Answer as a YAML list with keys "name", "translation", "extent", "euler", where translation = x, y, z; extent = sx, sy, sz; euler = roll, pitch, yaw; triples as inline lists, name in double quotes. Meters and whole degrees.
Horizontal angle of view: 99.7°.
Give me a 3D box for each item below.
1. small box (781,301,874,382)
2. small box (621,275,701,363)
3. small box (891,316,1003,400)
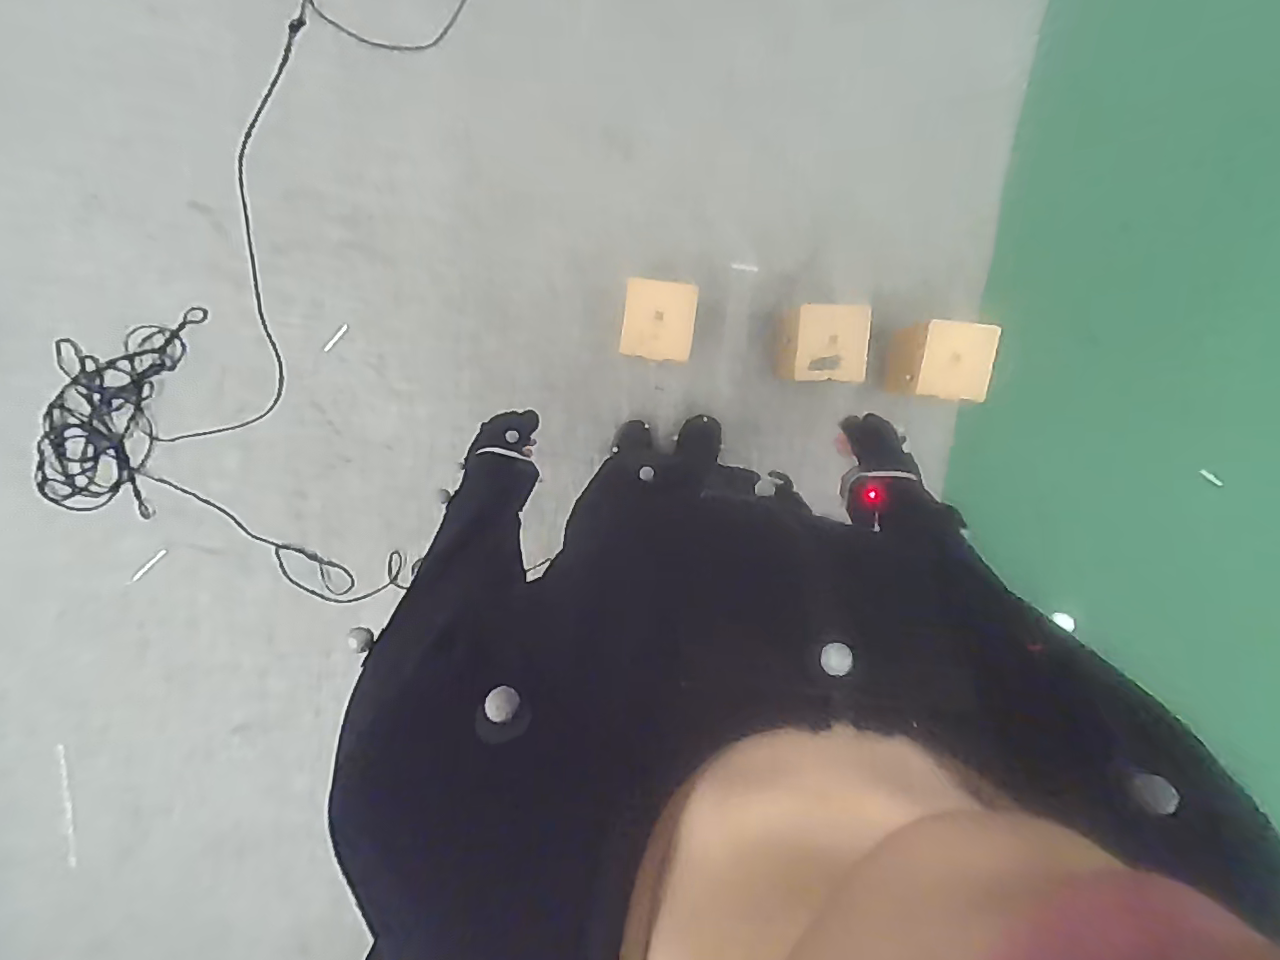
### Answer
- name: "small box"
  translation: [0.448, -0.331, 1.321]
  extent: [0.168, 0.176, 0.179]
  euler: [2, 99, 1]
- name: "small box"
  translation: [0.050, -0.386, 1.320]
  extent: [0.168, 0.176, 0.179]
  euler: [8, 100, 1]
- name: "small box"
  translation: [0.739, -0.292, 1.322]
  extent: [0.168, 0.176, 0.179]
  euler: [6, 100, 1]
